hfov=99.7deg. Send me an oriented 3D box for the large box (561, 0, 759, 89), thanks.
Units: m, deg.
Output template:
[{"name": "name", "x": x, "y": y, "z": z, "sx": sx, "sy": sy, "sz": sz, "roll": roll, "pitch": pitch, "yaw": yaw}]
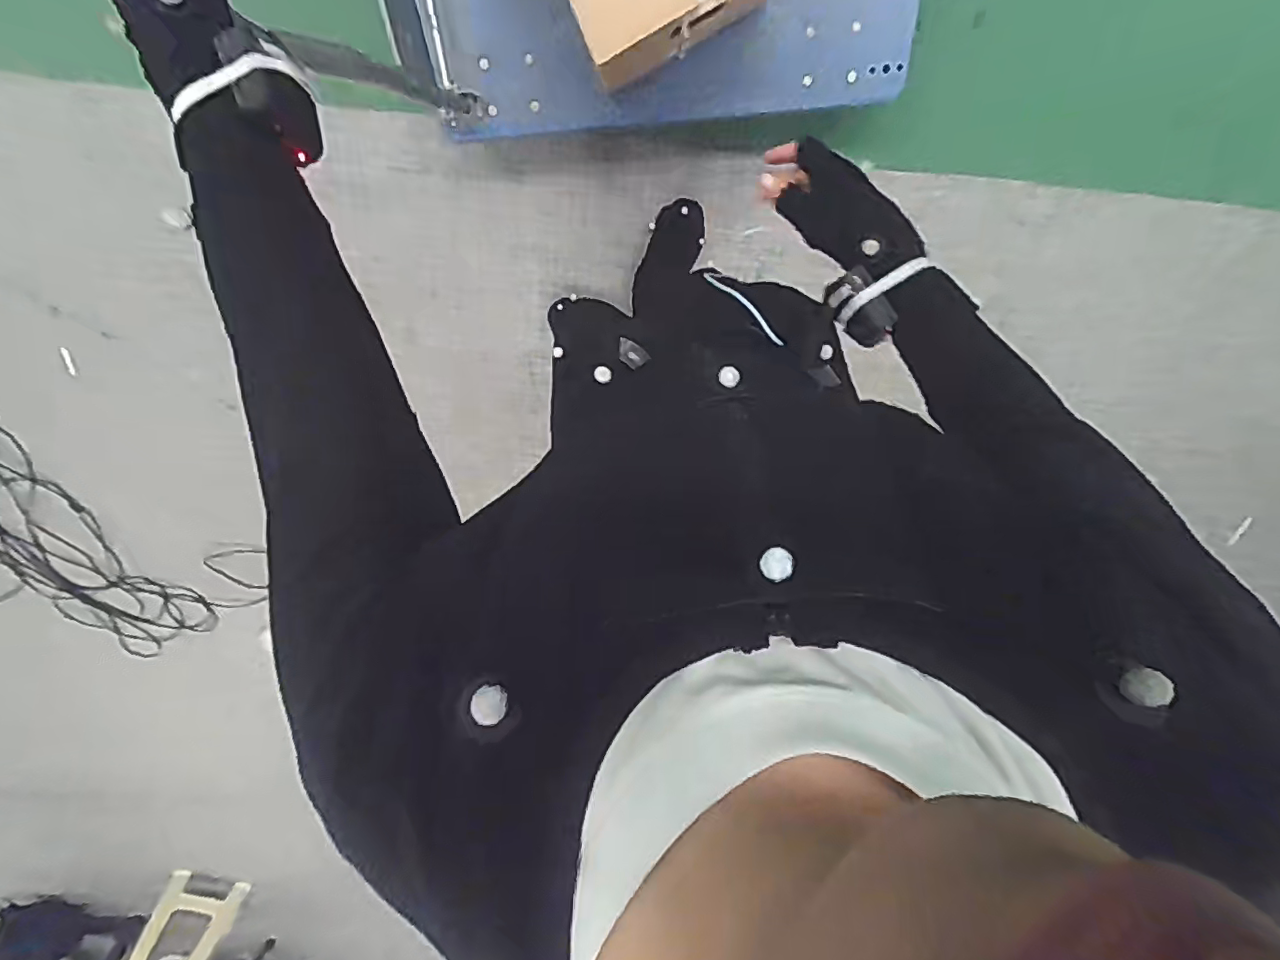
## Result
[{"name": "large box", "x": -0.011, "y": -0.847, "z": 0.736, "sx": 0.320, "sy": 0.320, "sz": 0.408, "roll": -22, "pitch": 117, "yaw": 12}]
